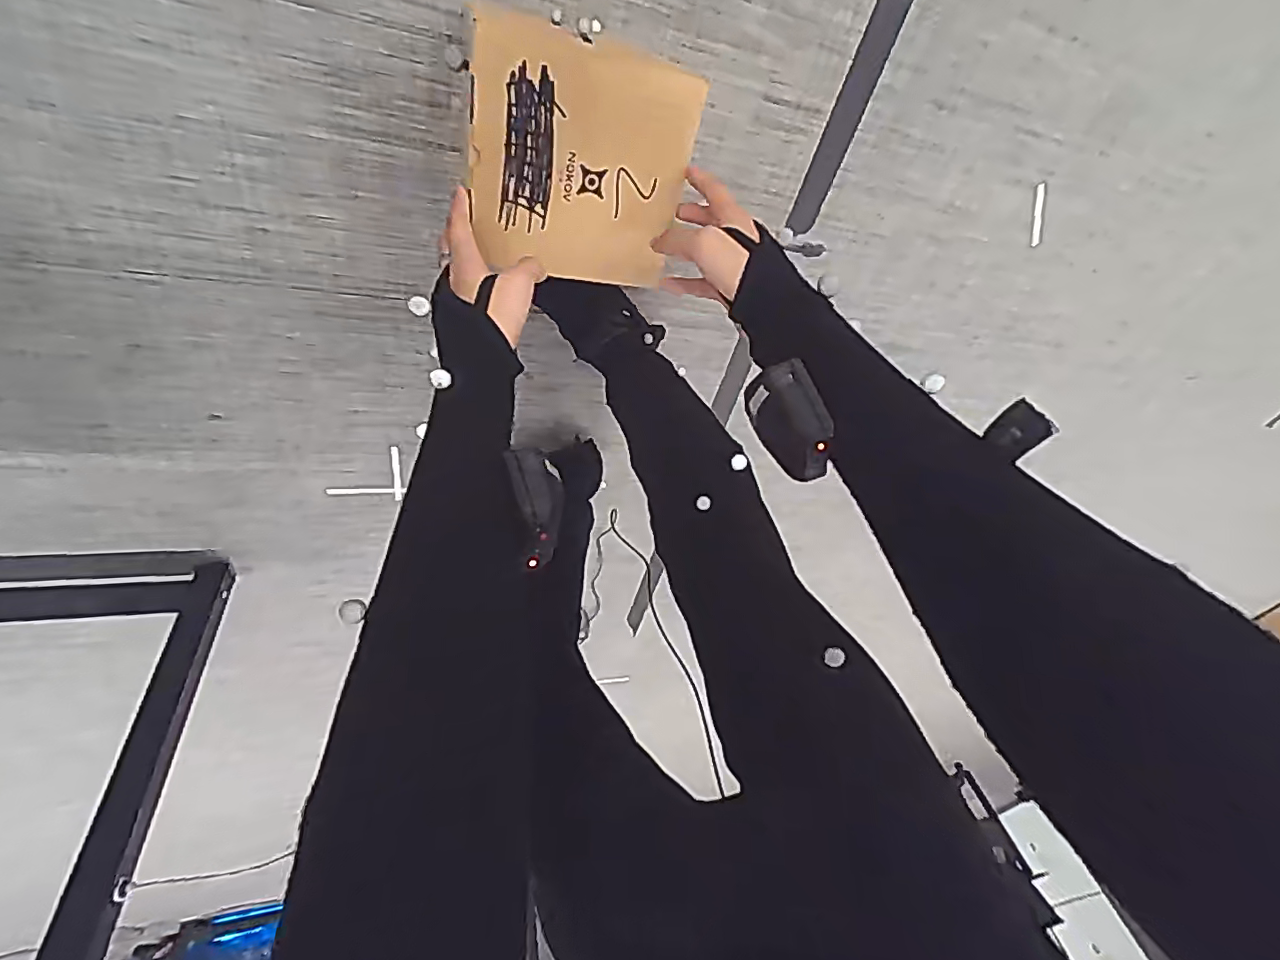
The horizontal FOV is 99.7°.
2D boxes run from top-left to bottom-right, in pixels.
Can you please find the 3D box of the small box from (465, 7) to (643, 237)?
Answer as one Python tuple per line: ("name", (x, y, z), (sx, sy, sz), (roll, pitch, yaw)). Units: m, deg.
("small box", (-0.109, -0.401, 0.609), (0.168, 0.176, 0.179), (-1, 134, -18))
